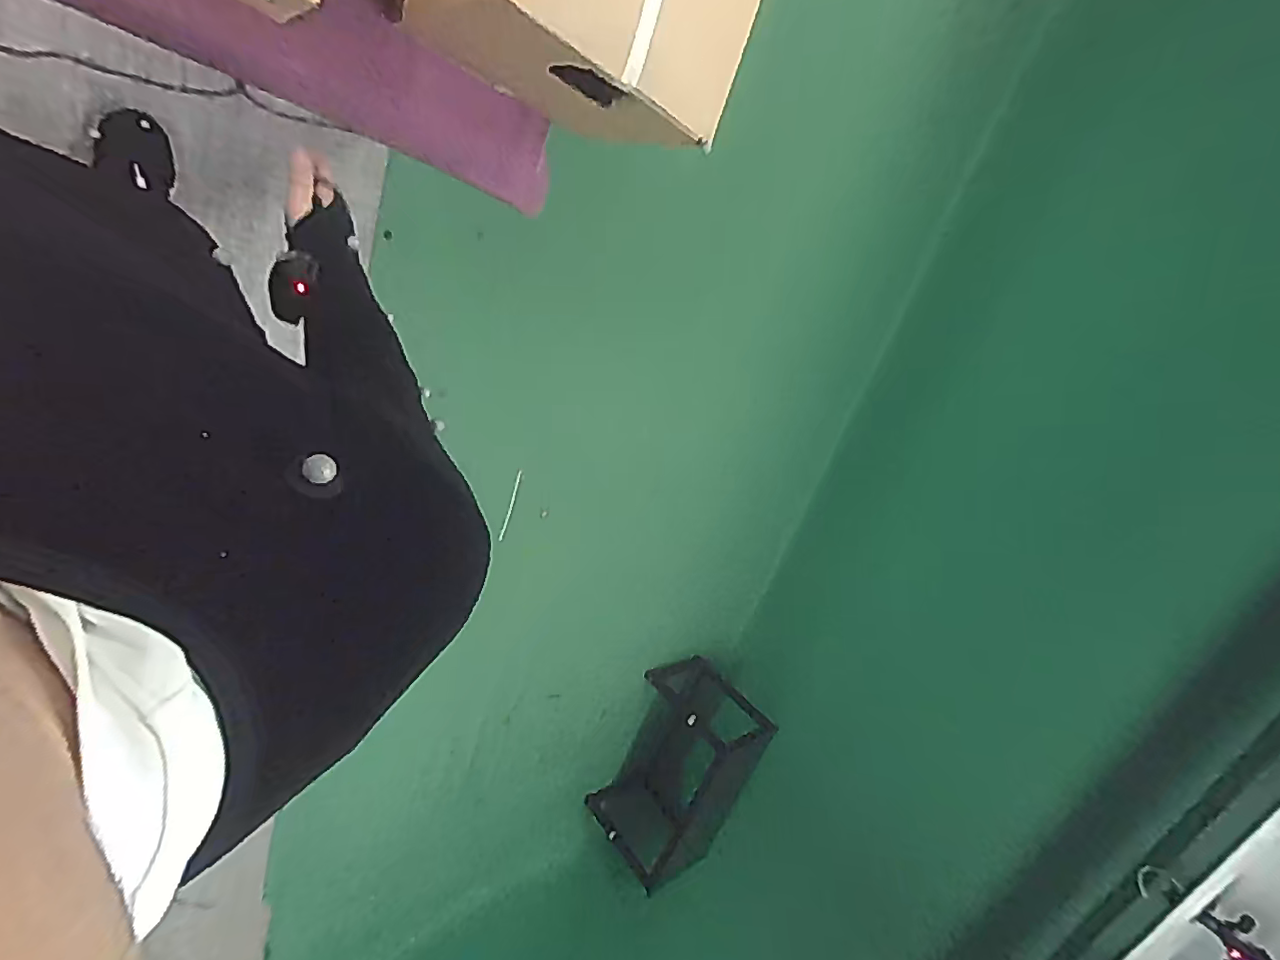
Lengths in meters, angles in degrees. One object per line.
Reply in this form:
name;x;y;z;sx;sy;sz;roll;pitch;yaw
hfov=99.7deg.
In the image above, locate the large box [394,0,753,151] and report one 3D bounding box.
large box;-0.053;-0.682;0.639;0.320;0.320;0.408;2;116;-45
